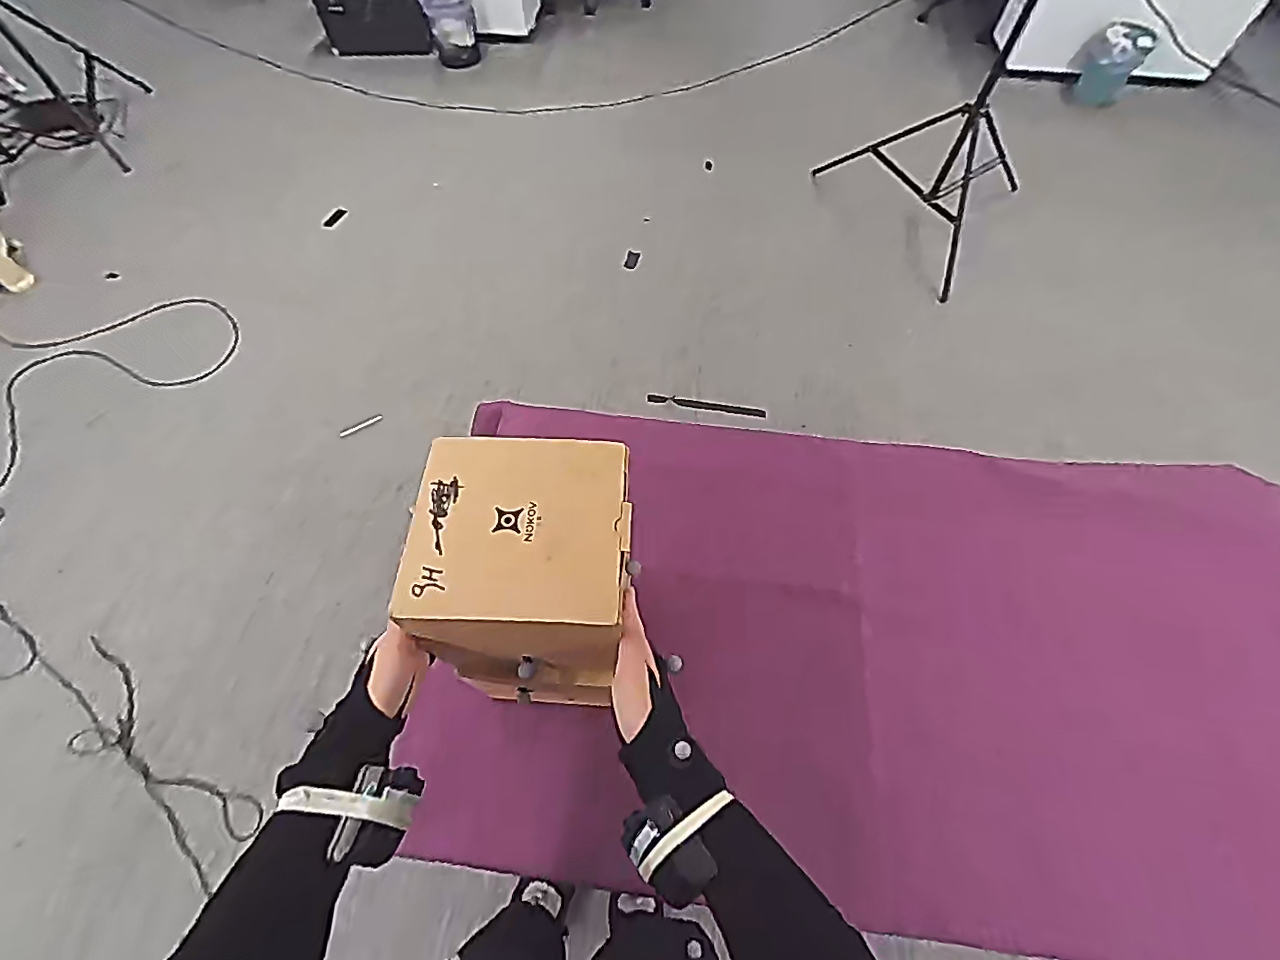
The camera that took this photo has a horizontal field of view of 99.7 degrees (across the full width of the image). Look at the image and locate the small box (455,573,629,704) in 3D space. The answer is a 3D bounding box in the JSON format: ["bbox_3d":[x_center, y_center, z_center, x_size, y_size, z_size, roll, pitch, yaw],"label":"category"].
[{"bbox_3d":[-0.102,0.167,0.655,0.168,0.176,0.179,3,60,1],"label":"small box"}]

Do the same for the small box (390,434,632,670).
[{"bbox_3d":[-0.102,0.076,0.512,0.179,0.176,0.168,3,58,-2],"label":"small box"}]
